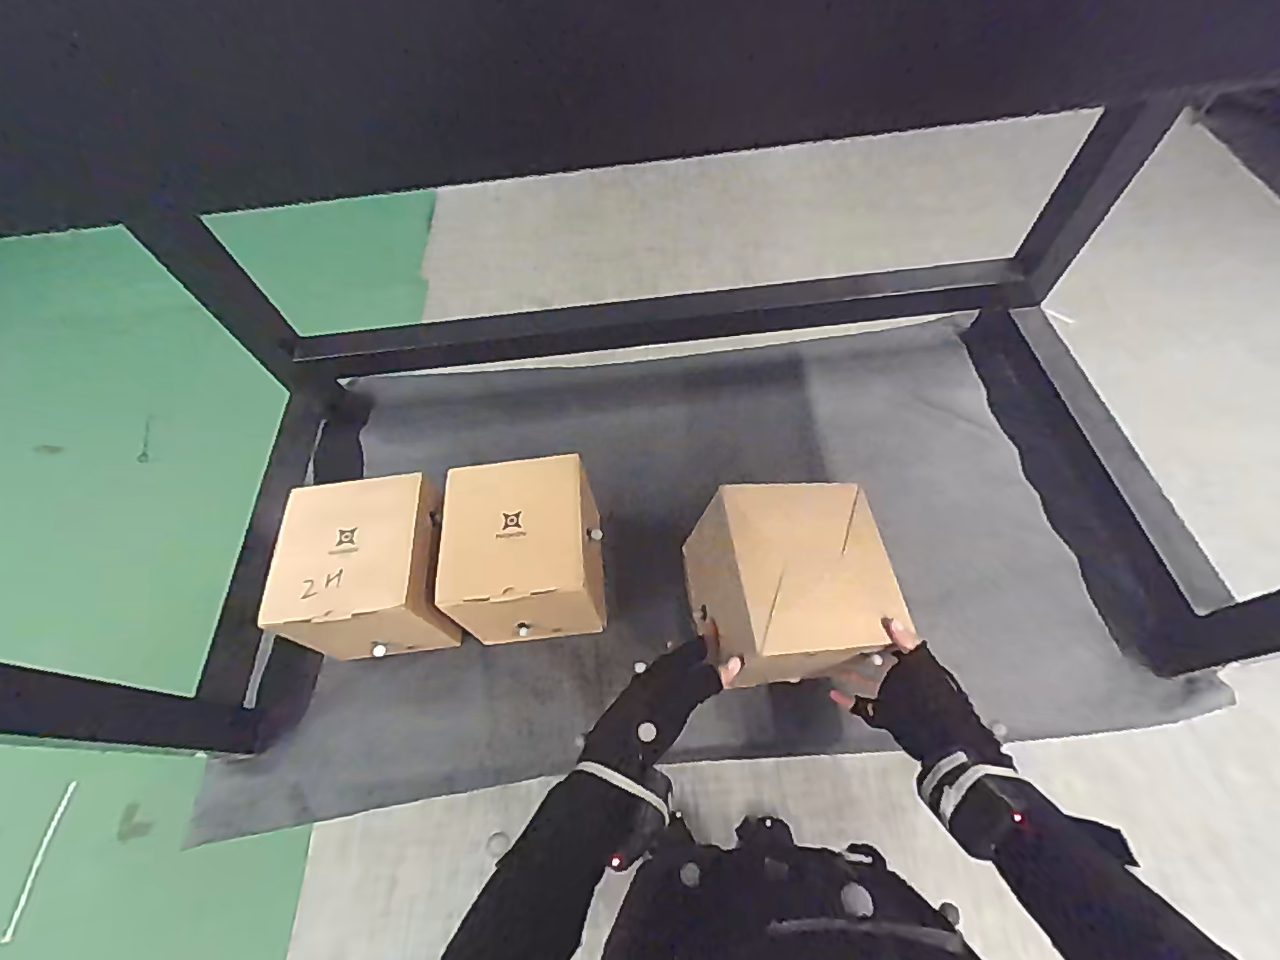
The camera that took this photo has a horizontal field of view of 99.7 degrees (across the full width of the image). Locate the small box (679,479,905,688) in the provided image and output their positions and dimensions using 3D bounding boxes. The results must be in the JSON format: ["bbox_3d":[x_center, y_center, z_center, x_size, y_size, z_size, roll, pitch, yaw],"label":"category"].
[{"bbox_3d":[0.155,0.116,0.594,0.168,0.176,0.179,0,61,-15],"label":"small box"}]

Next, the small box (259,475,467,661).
[{"bbox_3d":[-0.332,0.117,0.692,0.168,0.176,0.179,-7,59,2],"label":"small box"}]
